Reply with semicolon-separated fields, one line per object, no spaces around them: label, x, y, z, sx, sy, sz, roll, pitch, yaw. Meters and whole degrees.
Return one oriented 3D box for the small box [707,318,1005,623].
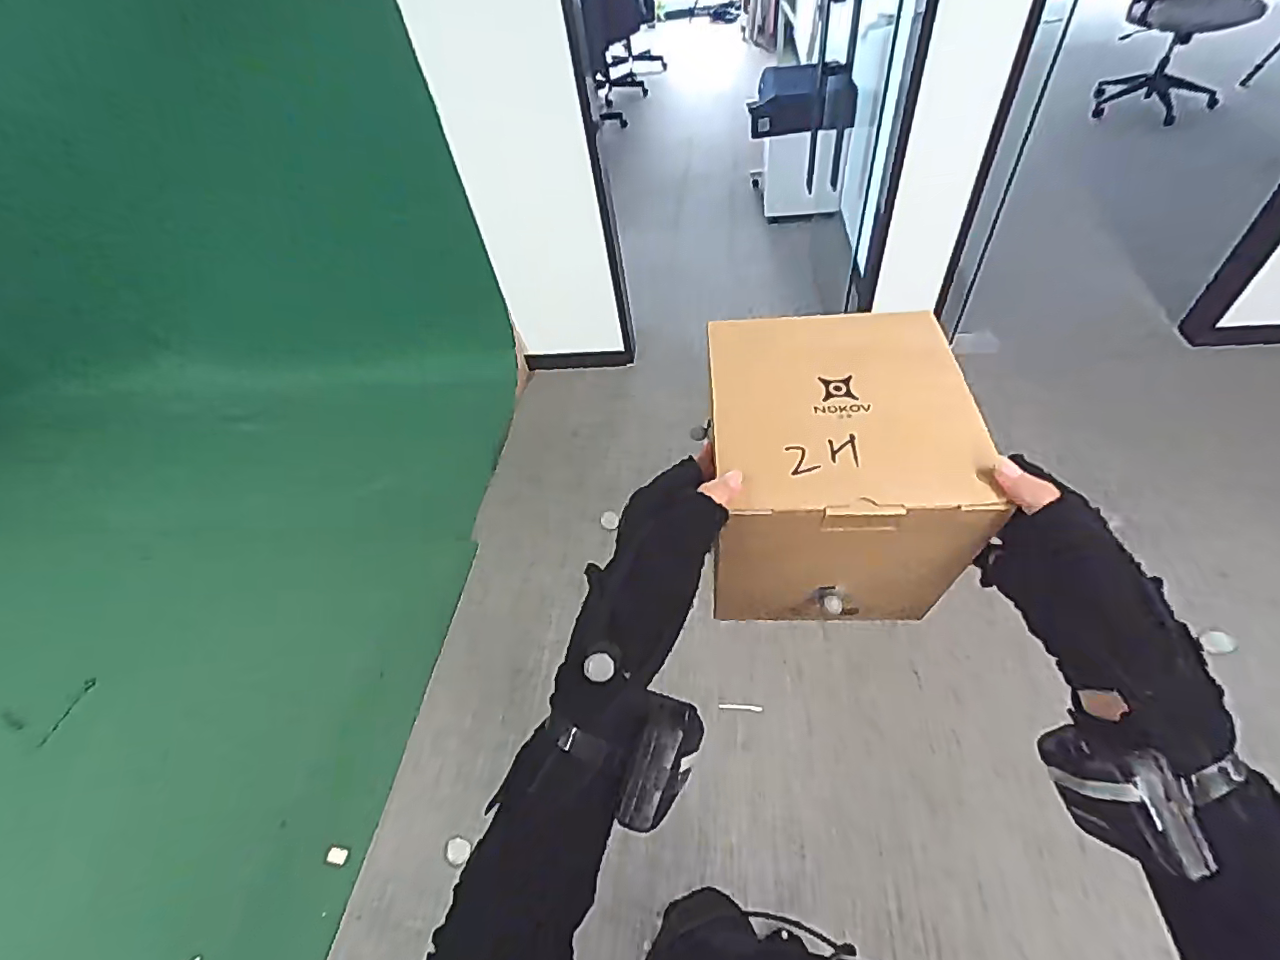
small box;0.138;-0.004;0.428;0.168;0.176;0.179;-1;53;6
